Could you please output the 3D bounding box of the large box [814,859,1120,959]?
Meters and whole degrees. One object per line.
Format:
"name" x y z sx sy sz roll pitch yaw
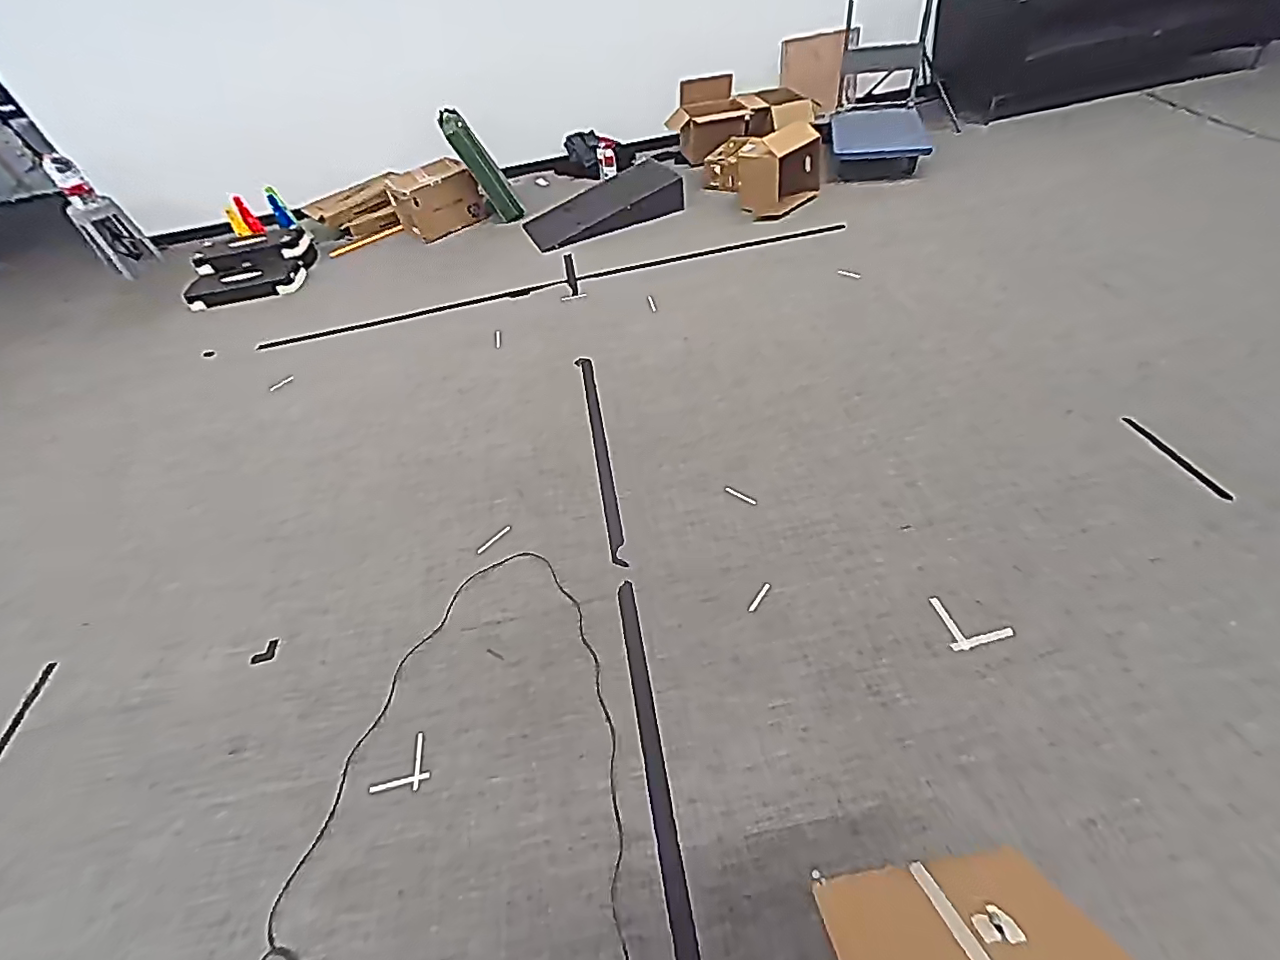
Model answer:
"large box" 0.433 0.727 0.606 0.320 0.408 0.320 -10 85 2
